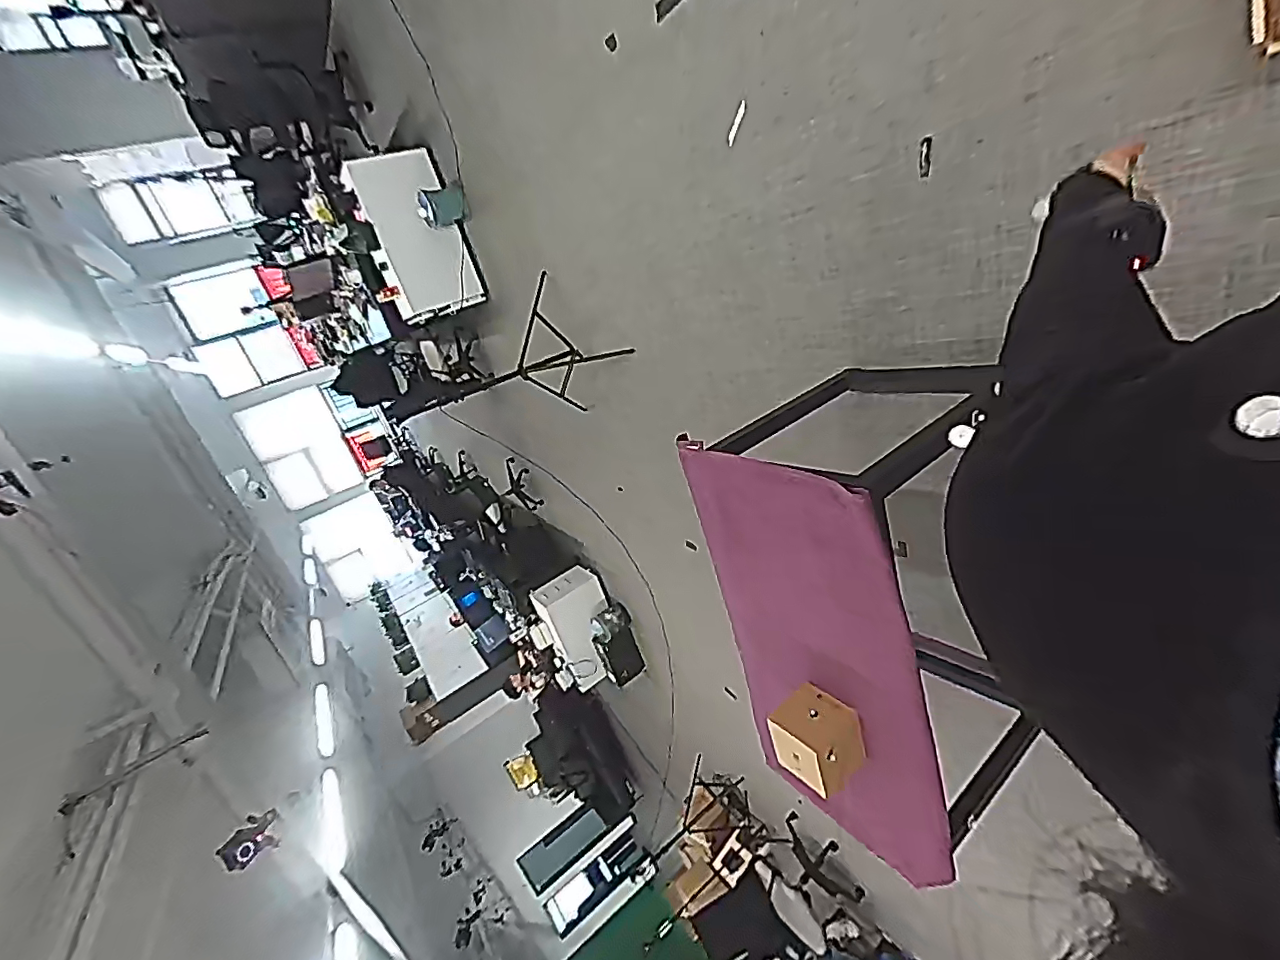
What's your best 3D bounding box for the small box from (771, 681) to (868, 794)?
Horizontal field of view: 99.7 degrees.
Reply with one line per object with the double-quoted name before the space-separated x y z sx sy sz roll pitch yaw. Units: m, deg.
"small box" 0.481 0.676 1.442 0.168 0.176 0.179 18 132 56
